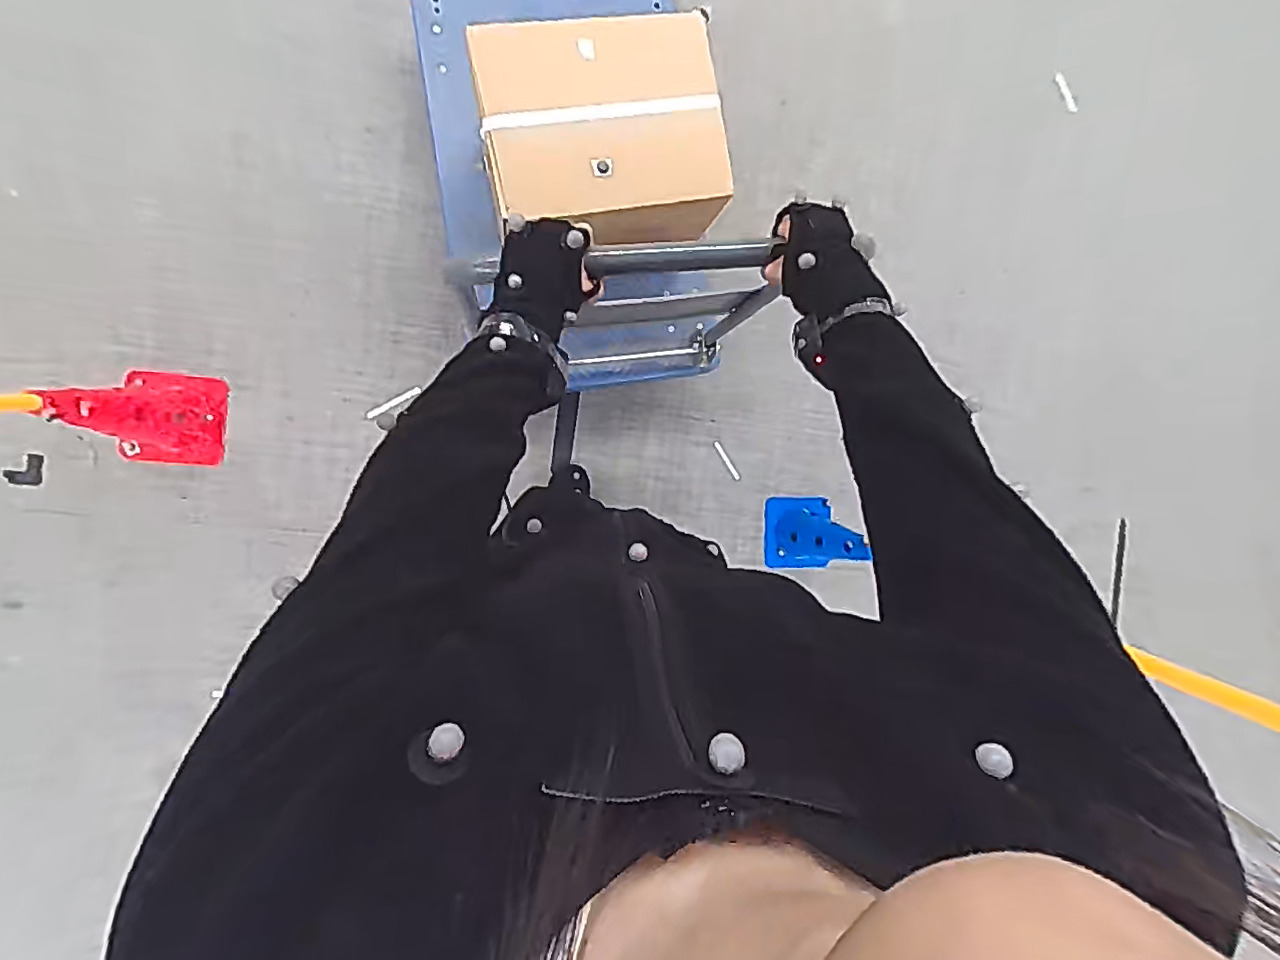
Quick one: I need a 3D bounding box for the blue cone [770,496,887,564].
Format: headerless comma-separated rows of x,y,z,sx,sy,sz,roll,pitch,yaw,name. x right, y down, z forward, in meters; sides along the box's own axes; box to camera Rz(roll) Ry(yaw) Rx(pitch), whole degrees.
0.489,0.145,1.366,0.193,0.380,0.192,2,90,-12,blue cone
